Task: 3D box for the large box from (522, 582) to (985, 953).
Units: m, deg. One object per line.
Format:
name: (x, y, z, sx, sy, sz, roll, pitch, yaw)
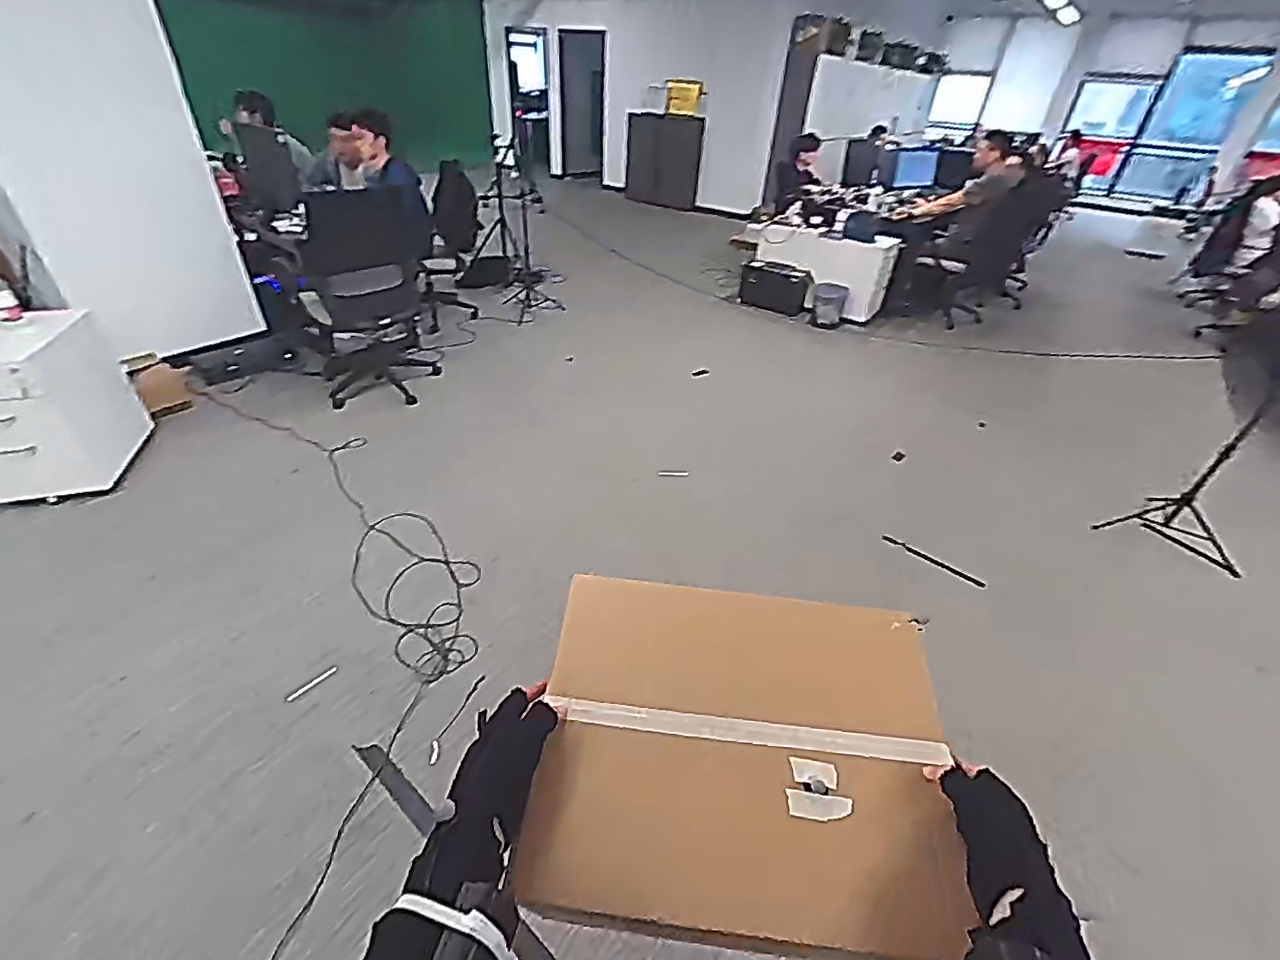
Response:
large box: (0.100, 0.354, 0.664, 0.408, 0.320, 0.320, 6, 49, 2)
